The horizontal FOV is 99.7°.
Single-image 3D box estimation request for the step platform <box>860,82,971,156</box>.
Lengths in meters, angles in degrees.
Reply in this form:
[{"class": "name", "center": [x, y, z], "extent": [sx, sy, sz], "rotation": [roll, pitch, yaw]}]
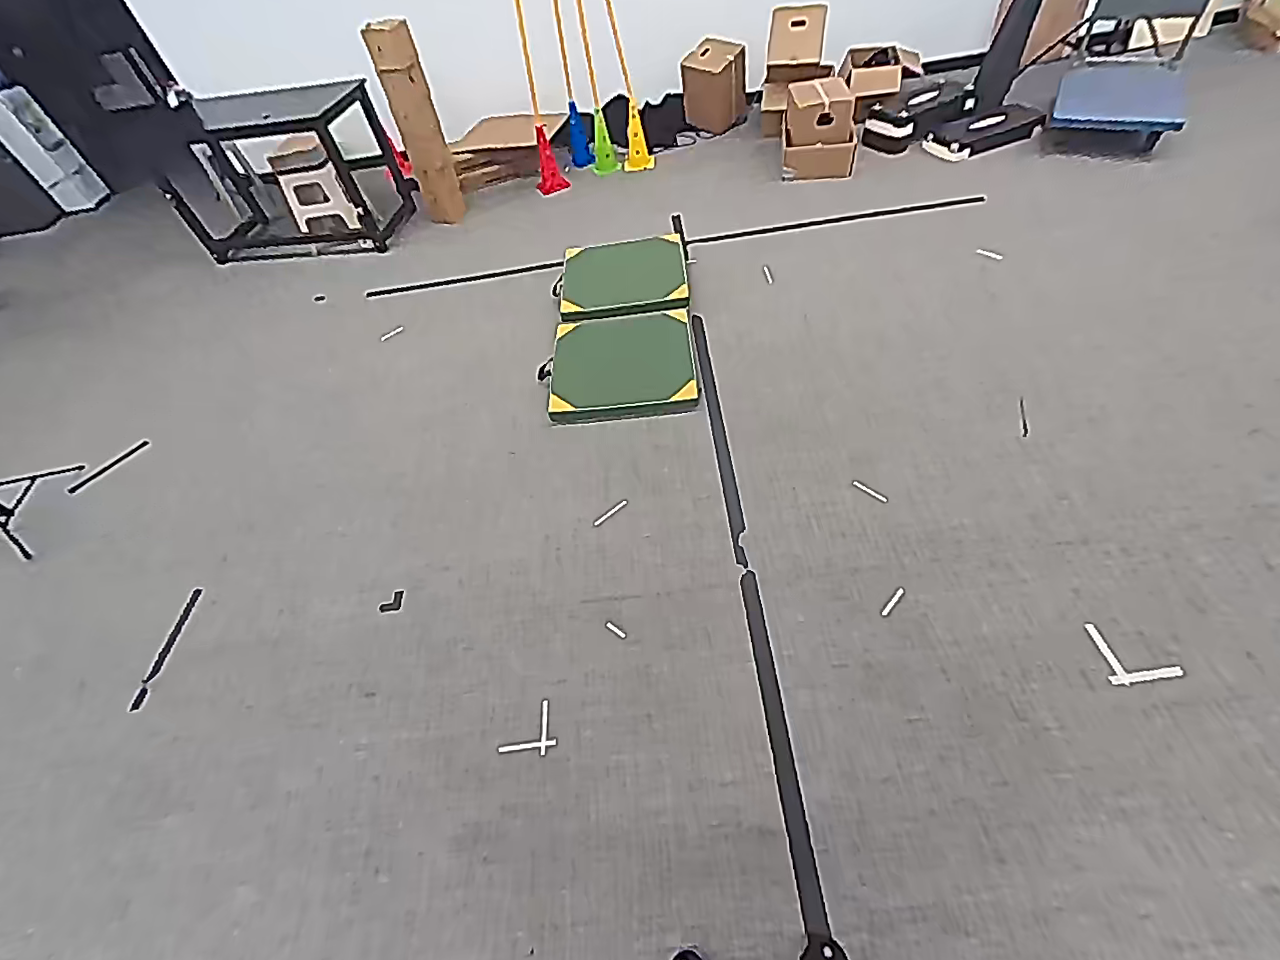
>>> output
[{"class": "step platform", "center": [1.712, -2.252, 3.360], "extent": [0.684, 0.204, 0.286], "rotation": [-30, 53, -14]}]
